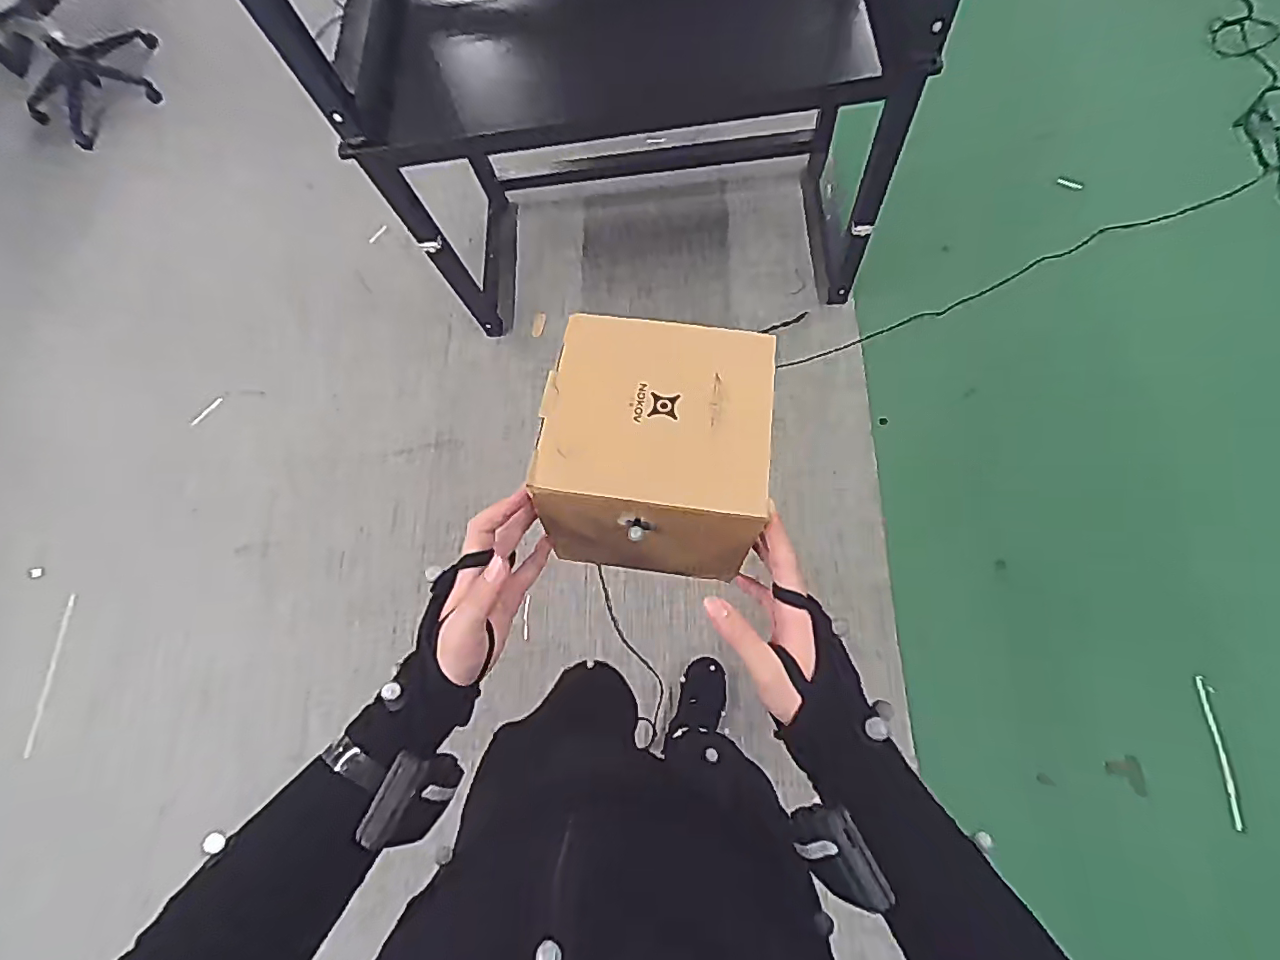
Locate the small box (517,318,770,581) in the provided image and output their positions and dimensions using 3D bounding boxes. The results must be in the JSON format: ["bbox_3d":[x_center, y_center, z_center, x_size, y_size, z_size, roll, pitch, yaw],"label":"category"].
[{"bbox_3d":[0.010,-0.018,0.483,0.179,0.176,0.168,7,64,4],"label":"small box"}]
